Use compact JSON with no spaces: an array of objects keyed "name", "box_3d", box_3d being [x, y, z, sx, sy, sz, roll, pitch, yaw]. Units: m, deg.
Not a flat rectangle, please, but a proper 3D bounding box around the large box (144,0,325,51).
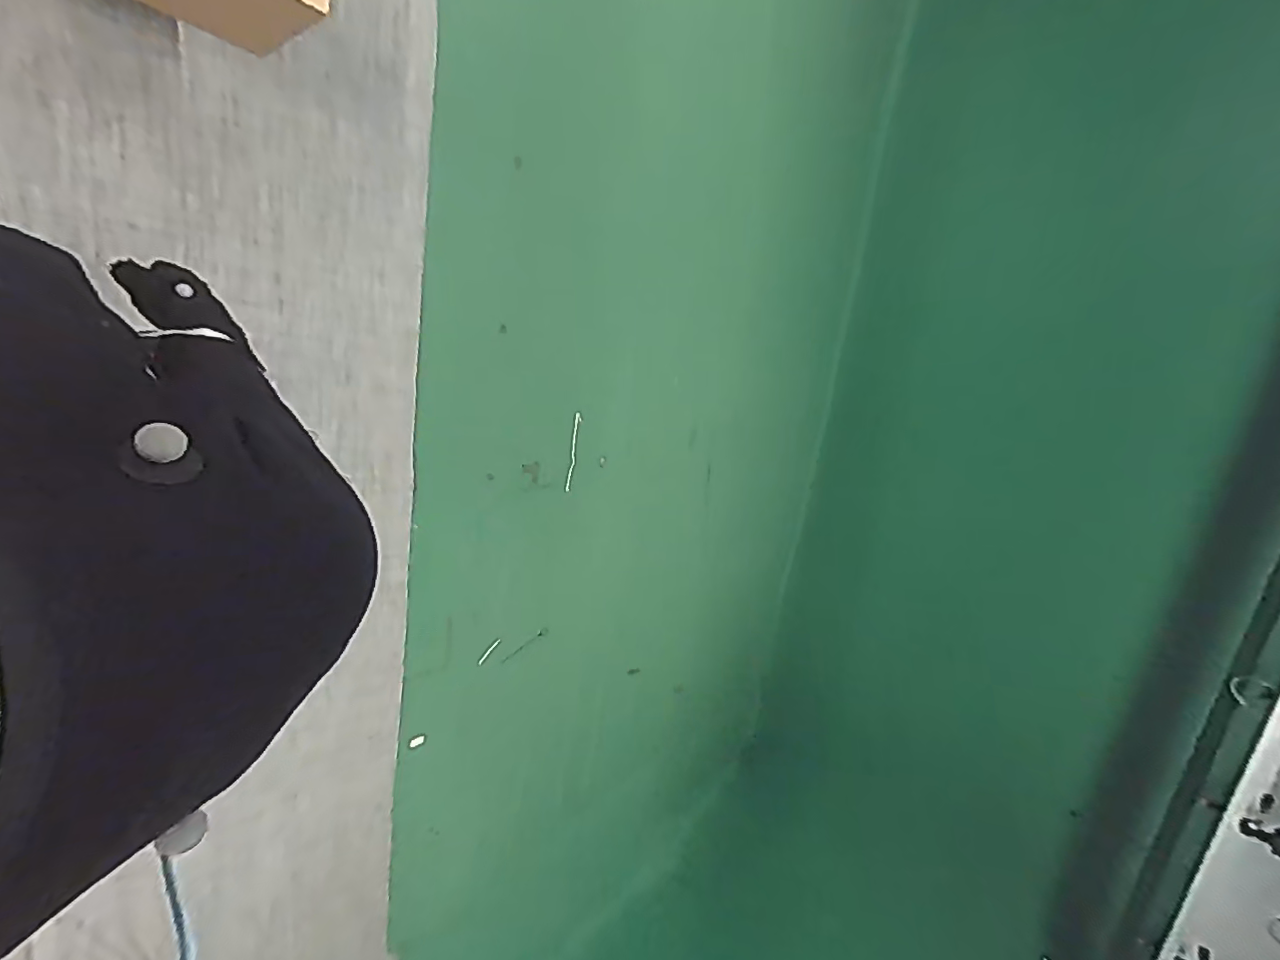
[{"name":"large box","box_3d":[-0.705,-0.897,0.751,0.408,0.320,0.320,-5,108,-50]}]
